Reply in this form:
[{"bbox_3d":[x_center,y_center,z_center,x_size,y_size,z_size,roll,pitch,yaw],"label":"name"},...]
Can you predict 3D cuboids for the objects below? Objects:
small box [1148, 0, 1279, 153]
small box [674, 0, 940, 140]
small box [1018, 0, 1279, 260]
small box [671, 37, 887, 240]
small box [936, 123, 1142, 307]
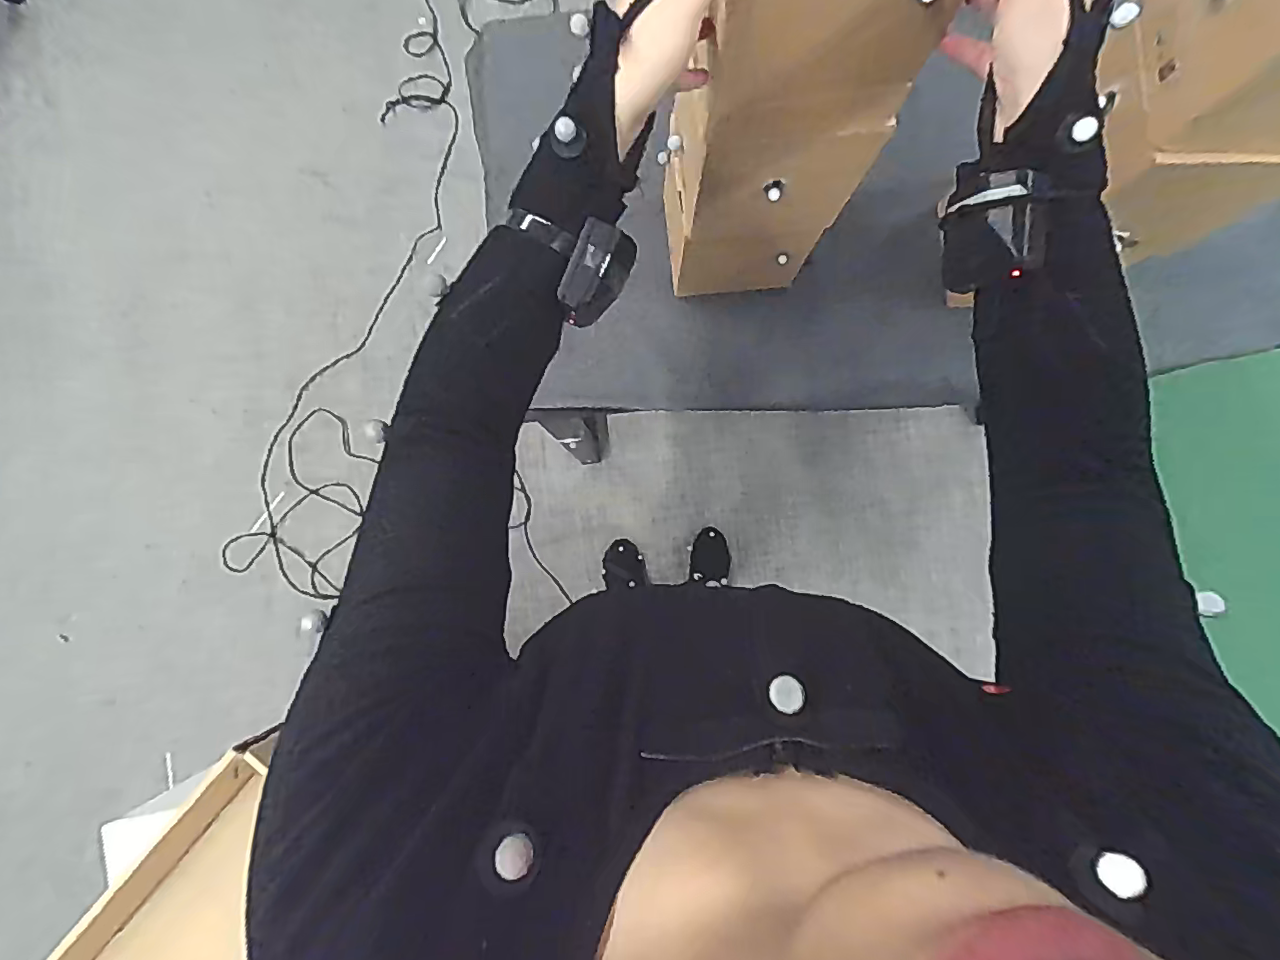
[{"bbox_3d":[0.531,-0.374,0.403,0.179,0.176,0.168,2,84,2],"label":"small box"},{"bbox_3d":[0.121,-0.393,0.409,0.179,0.176,0.168,-8,85,-2],"label":"small box"},{"bbox_3d":[0.532,-0.355,0.565,0.168,0.176,0.179,0,85,2],"label":"small box"},{"bbox_3d":[0.130,-0.379,0.571,0.179,0.176,0.168,-6,85,1],"label":"small box"},{"bbox_3d":[0.534,-0.346,0.728,0.179,0.176,0.168,-2,84,1],"label":"small box"}]
